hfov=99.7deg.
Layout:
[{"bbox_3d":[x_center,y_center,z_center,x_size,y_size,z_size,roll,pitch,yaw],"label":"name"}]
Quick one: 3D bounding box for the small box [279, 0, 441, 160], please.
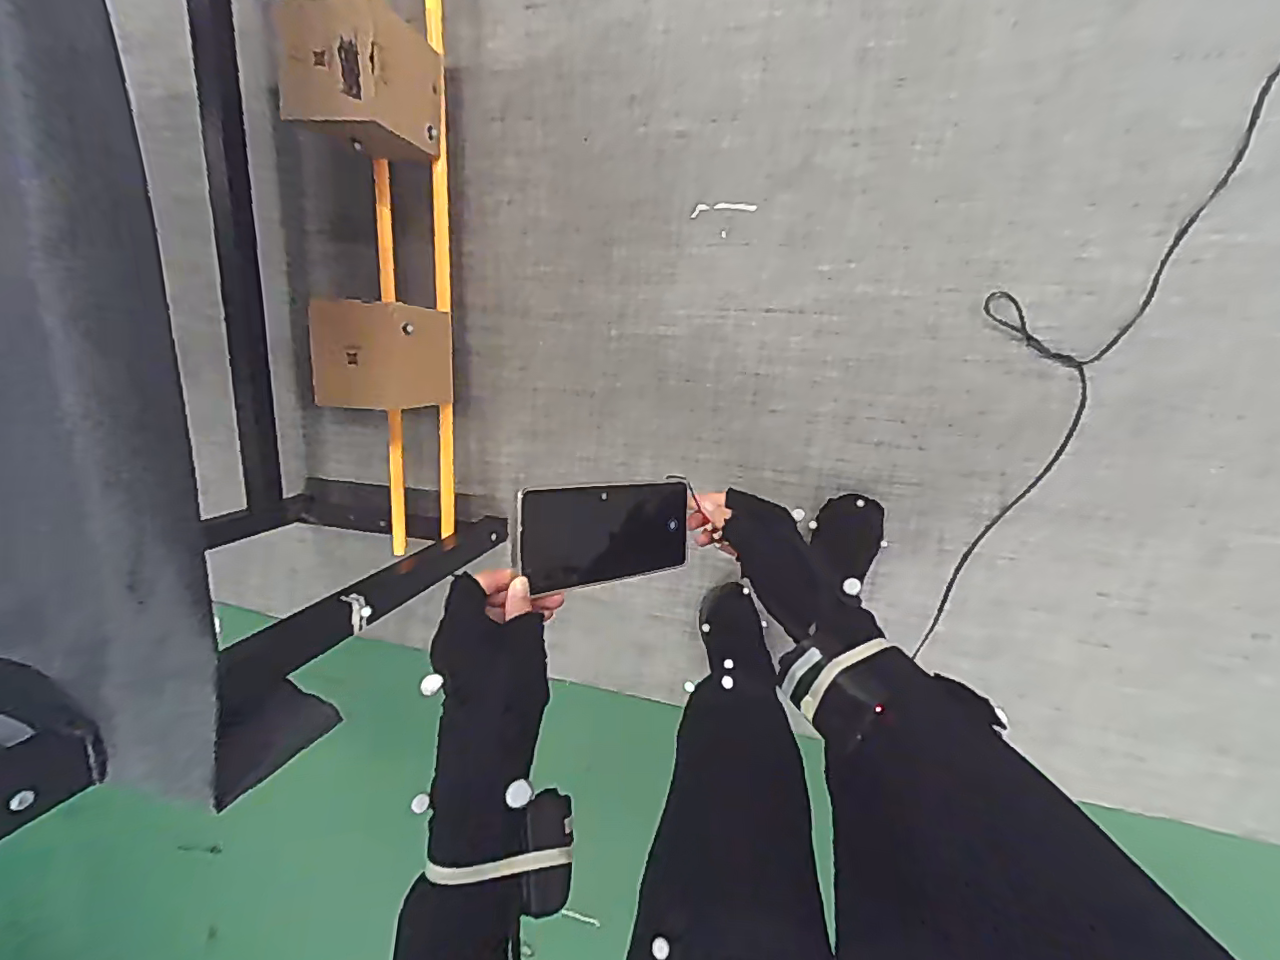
[{"bbox_3d":[-0.448,-0.646,0.887,0.179,0.176,0.168,10,104,13],"label":"small box"}]
